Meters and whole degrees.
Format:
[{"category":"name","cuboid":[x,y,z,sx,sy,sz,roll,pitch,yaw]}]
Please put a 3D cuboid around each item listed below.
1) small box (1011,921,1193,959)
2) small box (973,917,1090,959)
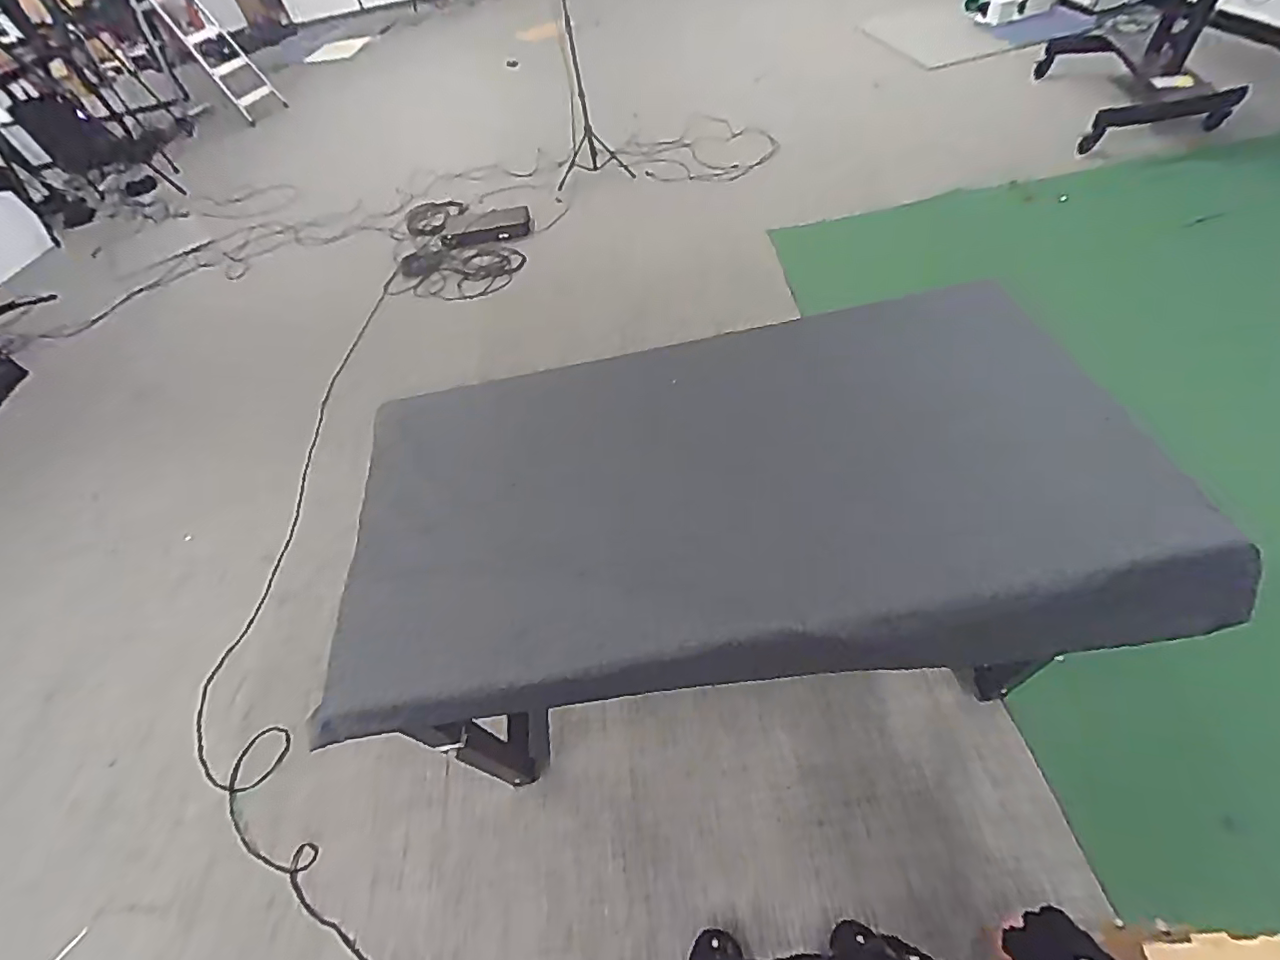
[{"category":"small box","cuboid":[0.699,0.761,0.796,0.179,0.176,0.168,-7,51,5]},{"category":"small box","cuboid":[0.716,0.861,0.927,0.179,0.176,0.168,-8,51,5]}]
